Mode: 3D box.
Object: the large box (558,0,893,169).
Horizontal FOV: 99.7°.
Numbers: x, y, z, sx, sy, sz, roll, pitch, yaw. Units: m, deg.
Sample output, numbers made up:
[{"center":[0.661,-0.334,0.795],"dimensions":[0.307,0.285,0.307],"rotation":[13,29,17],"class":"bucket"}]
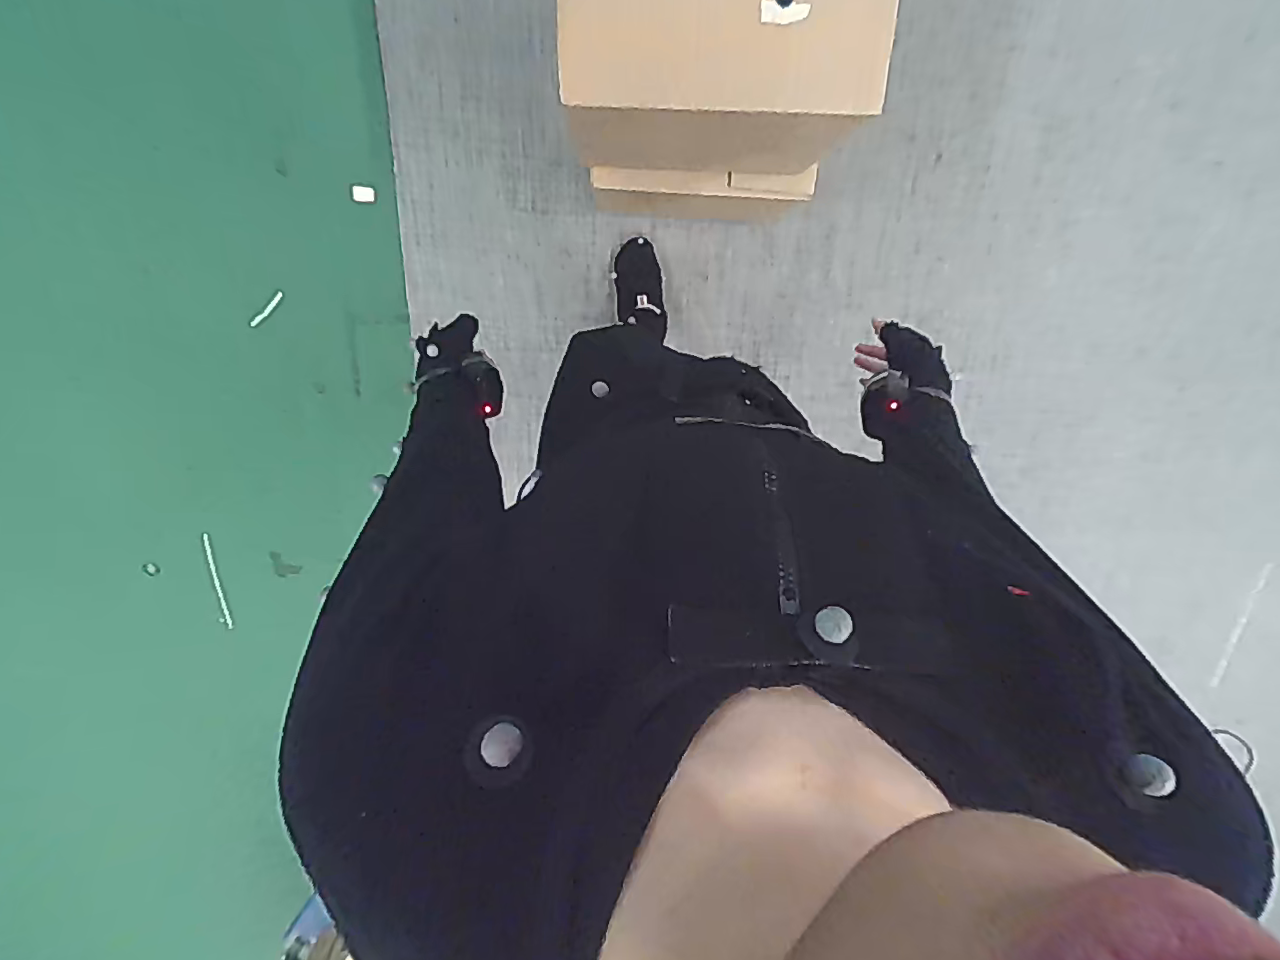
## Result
[{"center":[0.096,-0.652,0.761],"dimensions":[0.408,0.320,0.320],"rotation":[1,107,-3],"class":"large box"}]
